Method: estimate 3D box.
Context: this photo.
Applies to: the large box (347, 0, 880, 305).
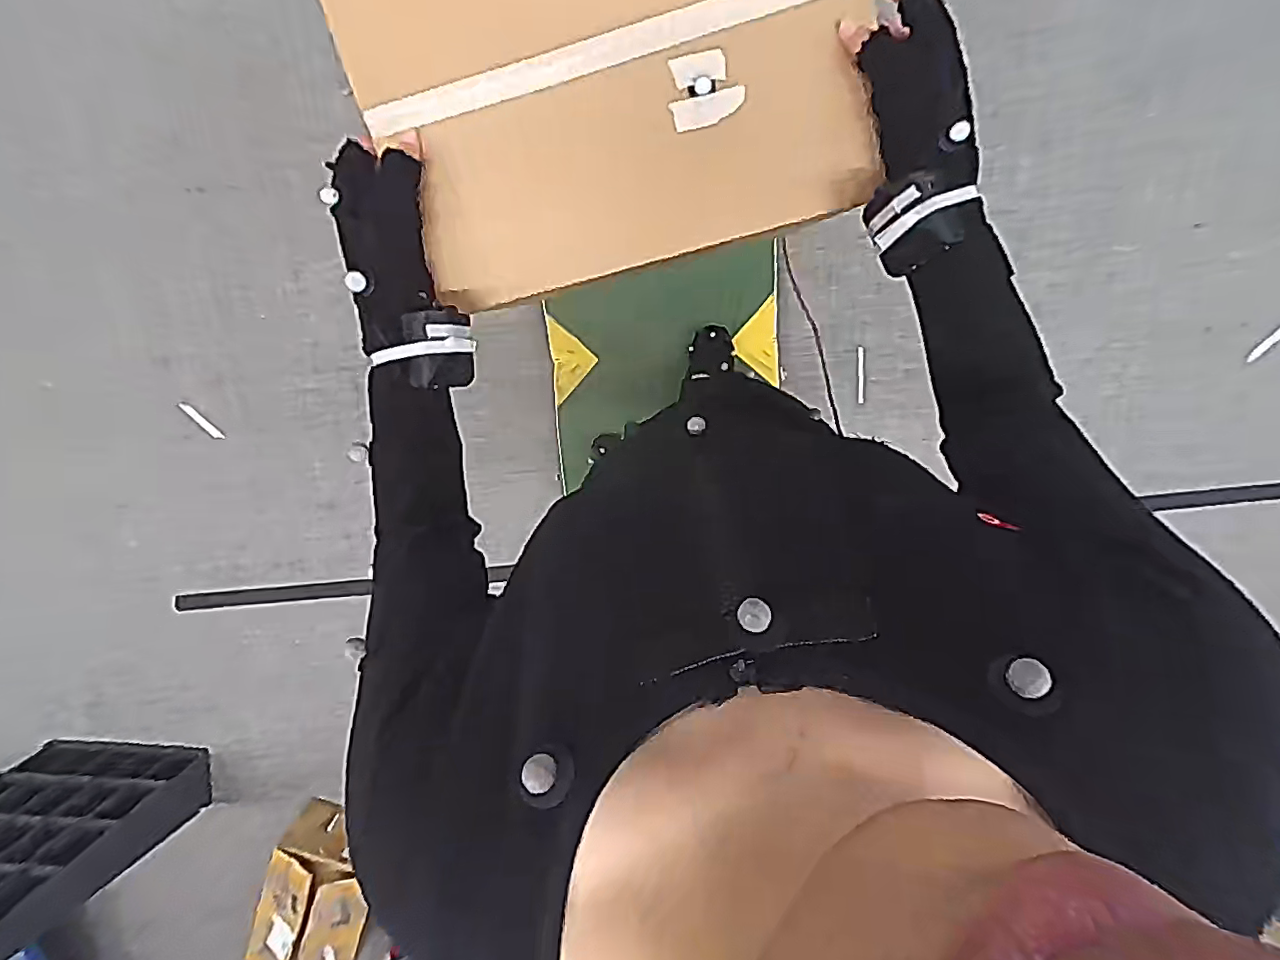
[{"bbox_3d":[-0.021,-0.395,0.580,0.408,0.320,0.320,-14,109,4],"label":"large box"}]
